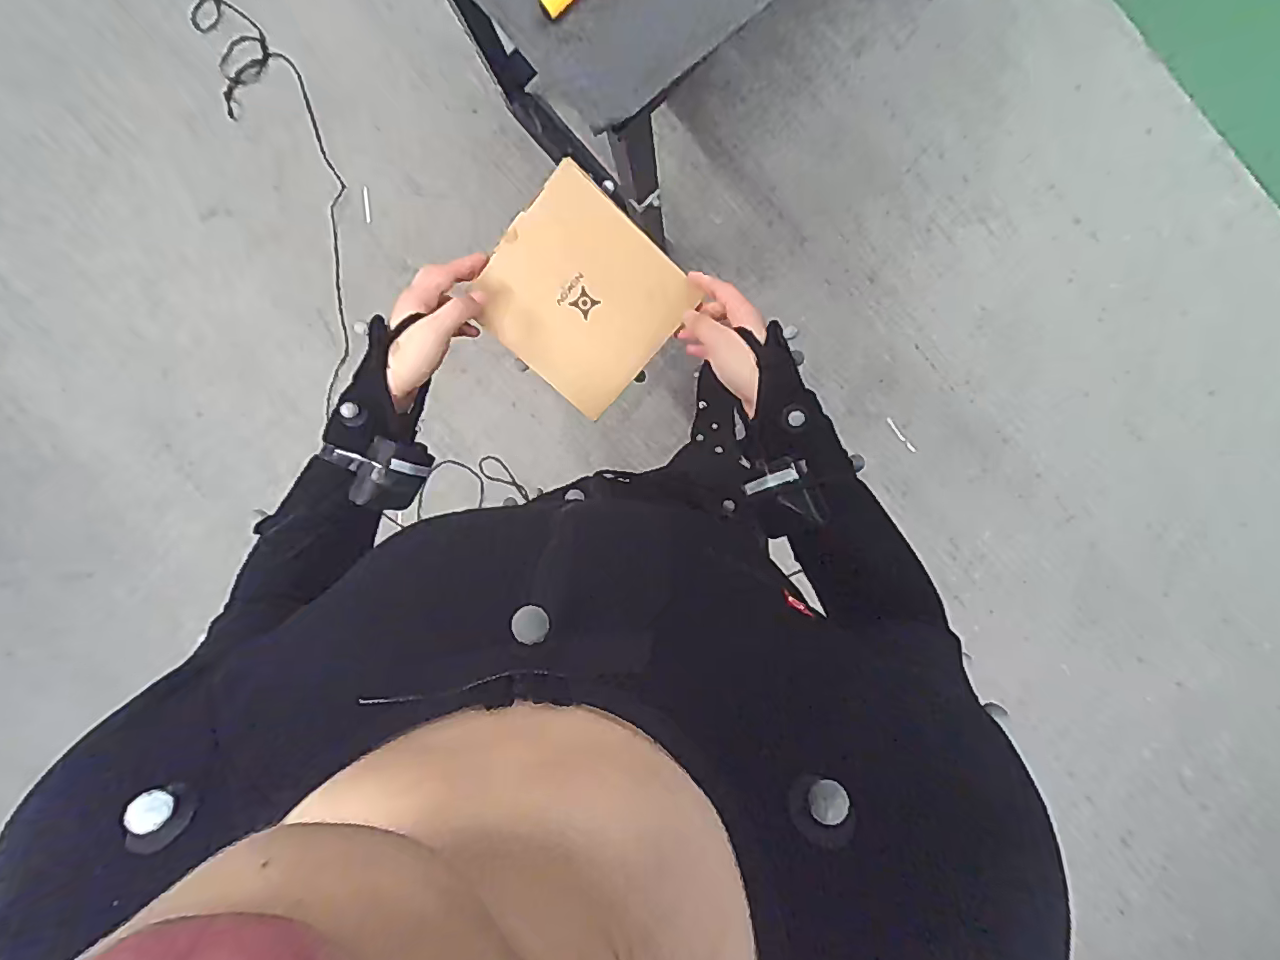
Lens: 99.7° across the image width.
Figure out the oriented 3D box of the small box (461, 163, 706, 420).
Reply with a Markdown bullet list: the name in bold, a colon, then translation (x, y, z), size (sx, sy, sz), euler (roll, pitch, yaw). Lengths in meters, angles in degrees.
- **small box**: translation (-0.053, -0.196, 0.586), size (0.179, 0.176, 0.168), euler (42, 102, -13)
